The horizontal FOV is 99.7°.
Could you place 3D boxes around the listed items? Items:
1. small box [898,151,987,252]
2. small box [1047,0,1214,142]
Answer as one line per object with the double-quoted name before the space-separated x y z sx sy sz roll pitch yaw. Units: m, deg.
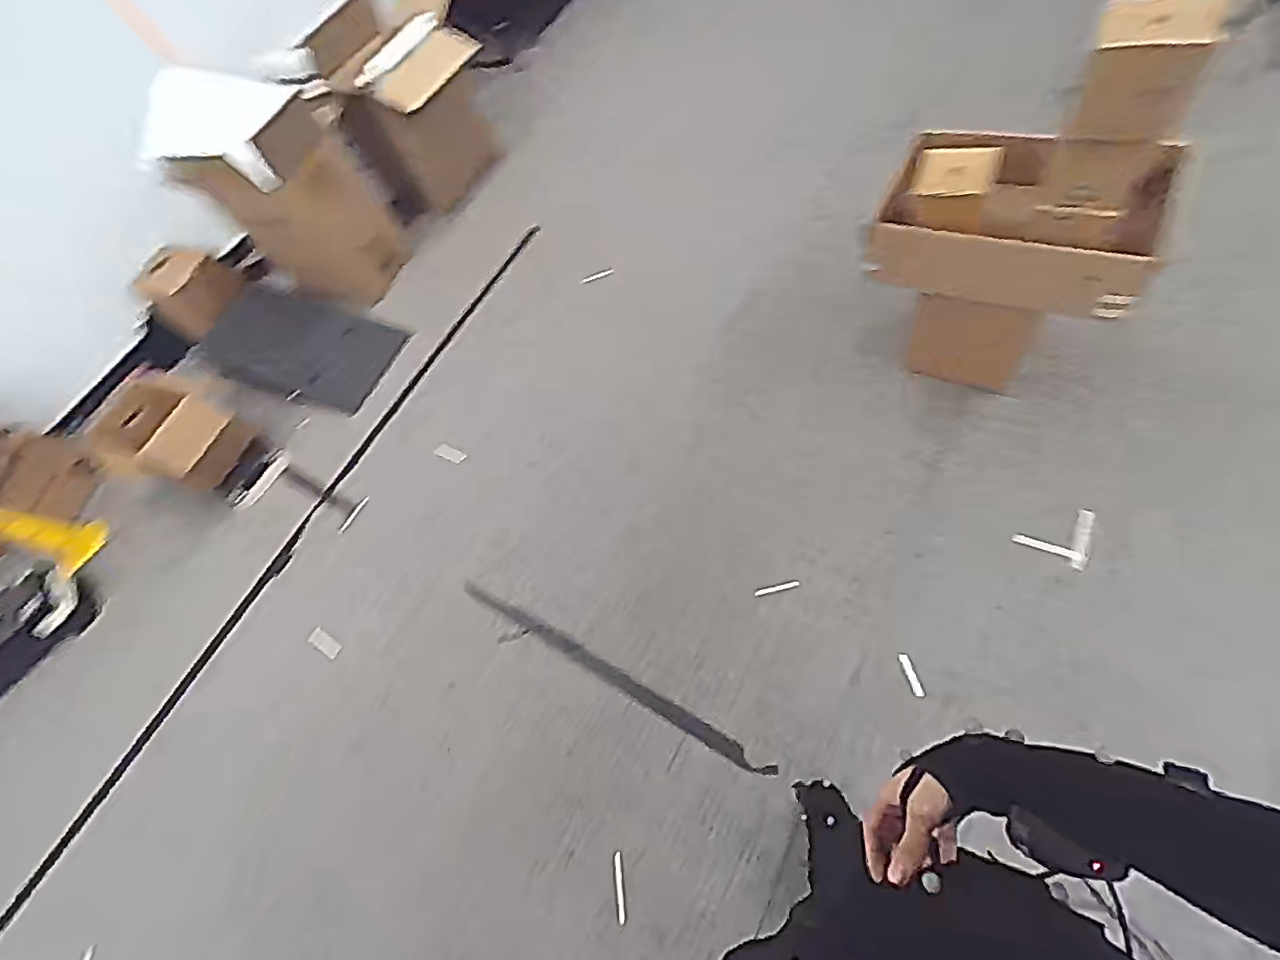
"small box" 0.794 -0.735 1.432 0.168 0.176 0.179 13 67 24
"small box" 0.918 -0.772 1.025 0.179 0.176 0.168 18 69 25
